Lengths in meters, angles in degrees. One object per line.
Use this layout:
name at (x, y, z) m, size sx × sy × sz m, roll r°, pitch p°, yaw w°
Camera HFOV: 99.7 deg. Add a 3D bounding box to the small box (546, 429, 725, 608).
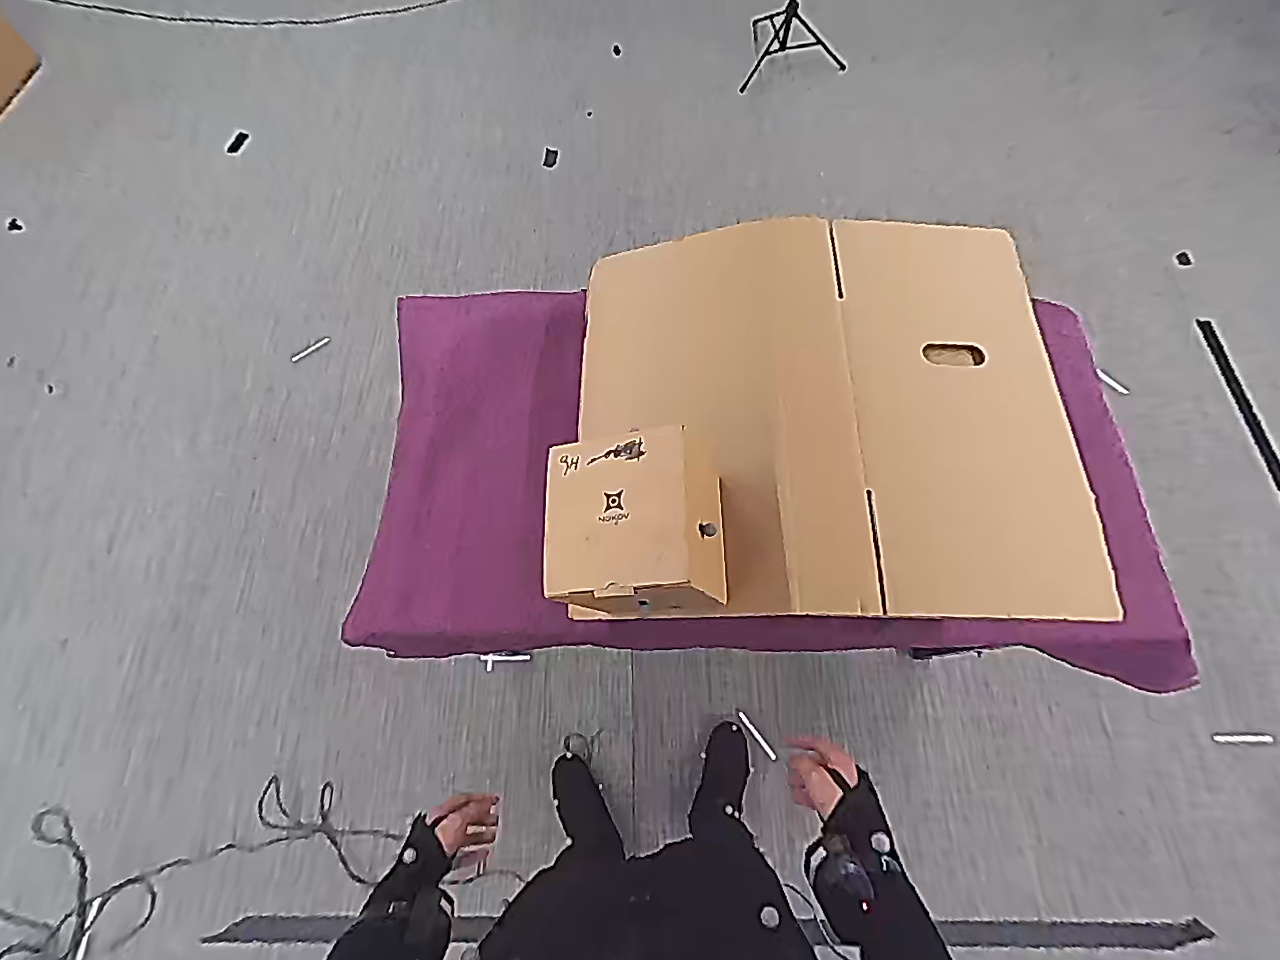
small box at (0.002, 0.060, 0.654) m, size 0.168 × 0.176 × 0.179 m, roll -8°, pitch 69°, yaw 19°
